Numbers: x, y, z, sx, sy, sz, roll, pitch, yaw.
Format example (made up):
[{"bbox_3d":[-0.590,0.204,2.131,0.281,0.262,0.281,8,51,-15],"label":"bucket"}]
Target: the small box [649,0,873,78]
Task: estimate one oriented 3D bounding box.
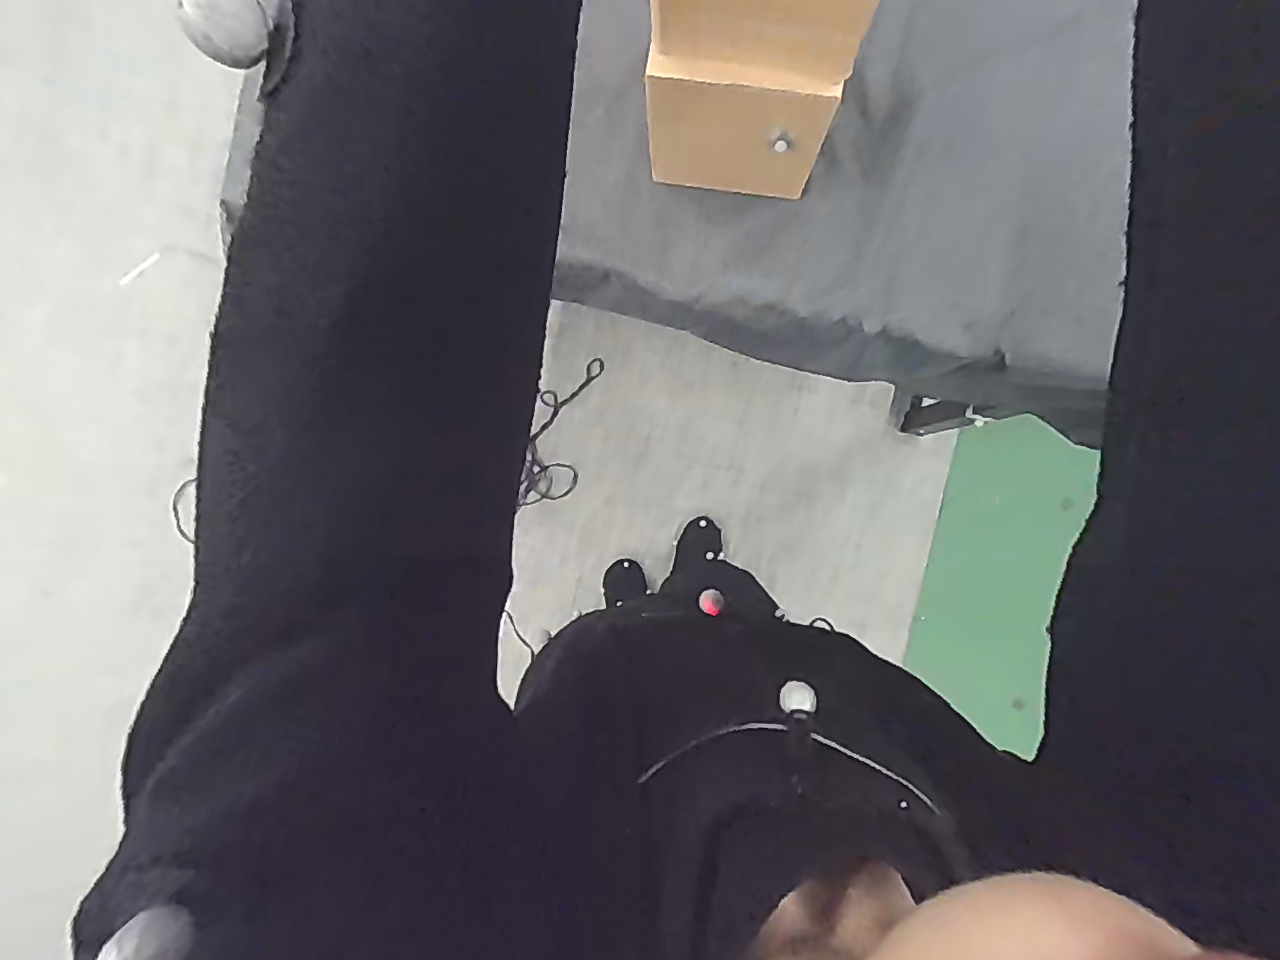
[{"bbox_3d":[0.103,-0.440,0.395,0.179,0.176,0.168,12,89,3],"label":"small box"}]
